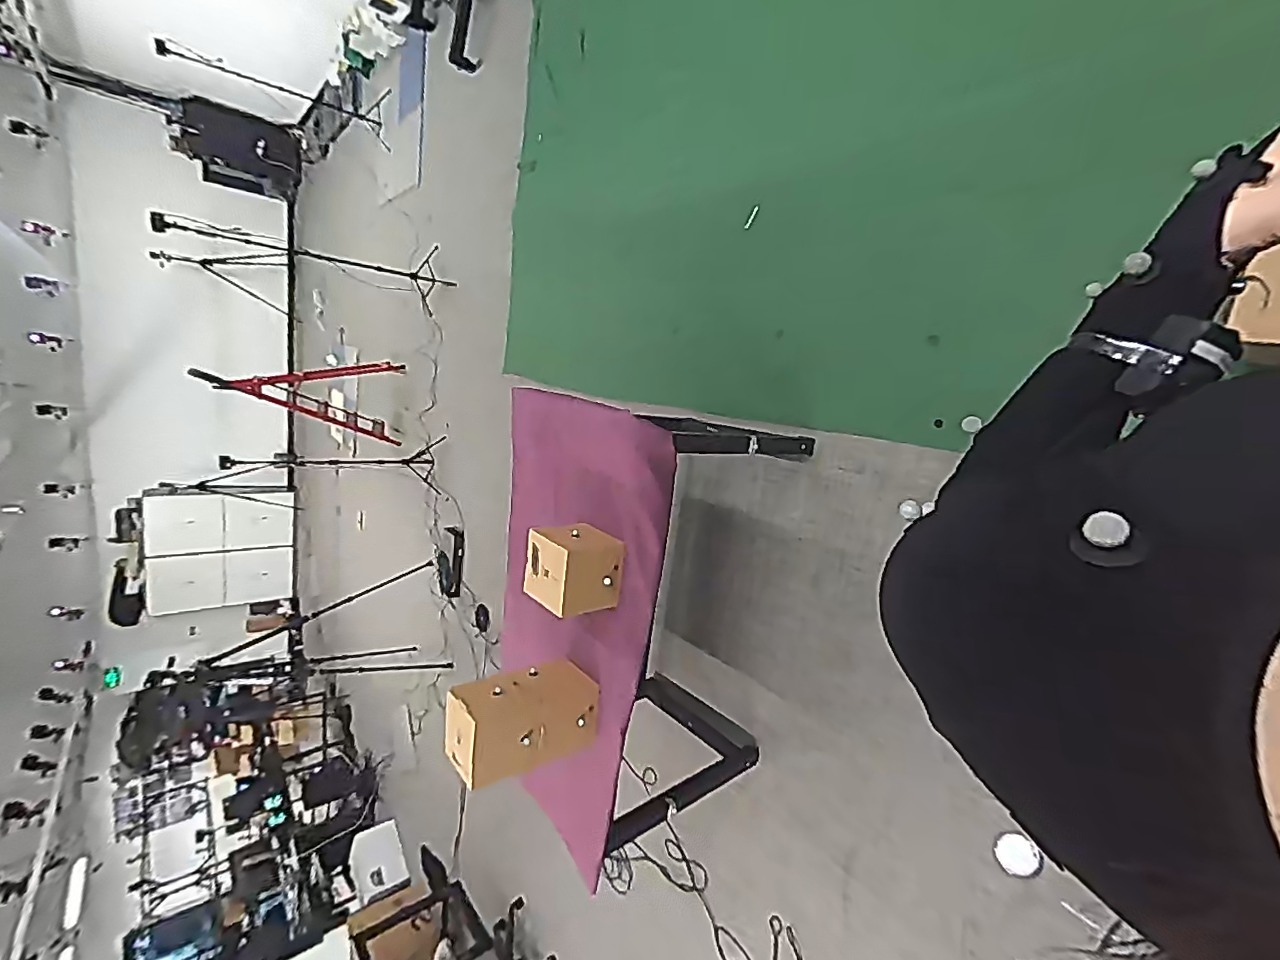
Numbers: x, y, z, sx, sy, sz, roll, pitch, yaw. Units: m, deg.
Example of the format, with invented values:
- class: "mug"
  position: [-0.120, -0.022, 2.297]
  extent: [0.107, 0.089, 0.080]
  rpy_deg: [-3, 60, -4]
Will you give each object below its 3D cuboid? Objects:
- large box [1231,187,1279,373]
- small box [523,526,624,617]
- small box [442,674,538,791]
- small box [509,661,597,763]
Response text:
- class: "large box"
  position: [1.173, -0.313, 0.767]
  extent: [0.408, 0.320, 0.320]
  rpy_deg: [21, 107, 46]
- class: "small box"
  position: [-0.163, 0.212, 1.317]
  extent: [0.179, 0.176, 0.168]
  rpy_deg: [19, 106, 47]
- class: "small box"
  position: [-0.359, 0.594, 1.301]
  extent: [0.168, 0.176, 0.179]
  rpy_deg: [17, 103, 50]
- class: "small box"
  position: [-0.235, 0.590, 1.407]
  extent: [0.179, 0.176, 0.168]
  rpy_deg: [17, 105, 49]
